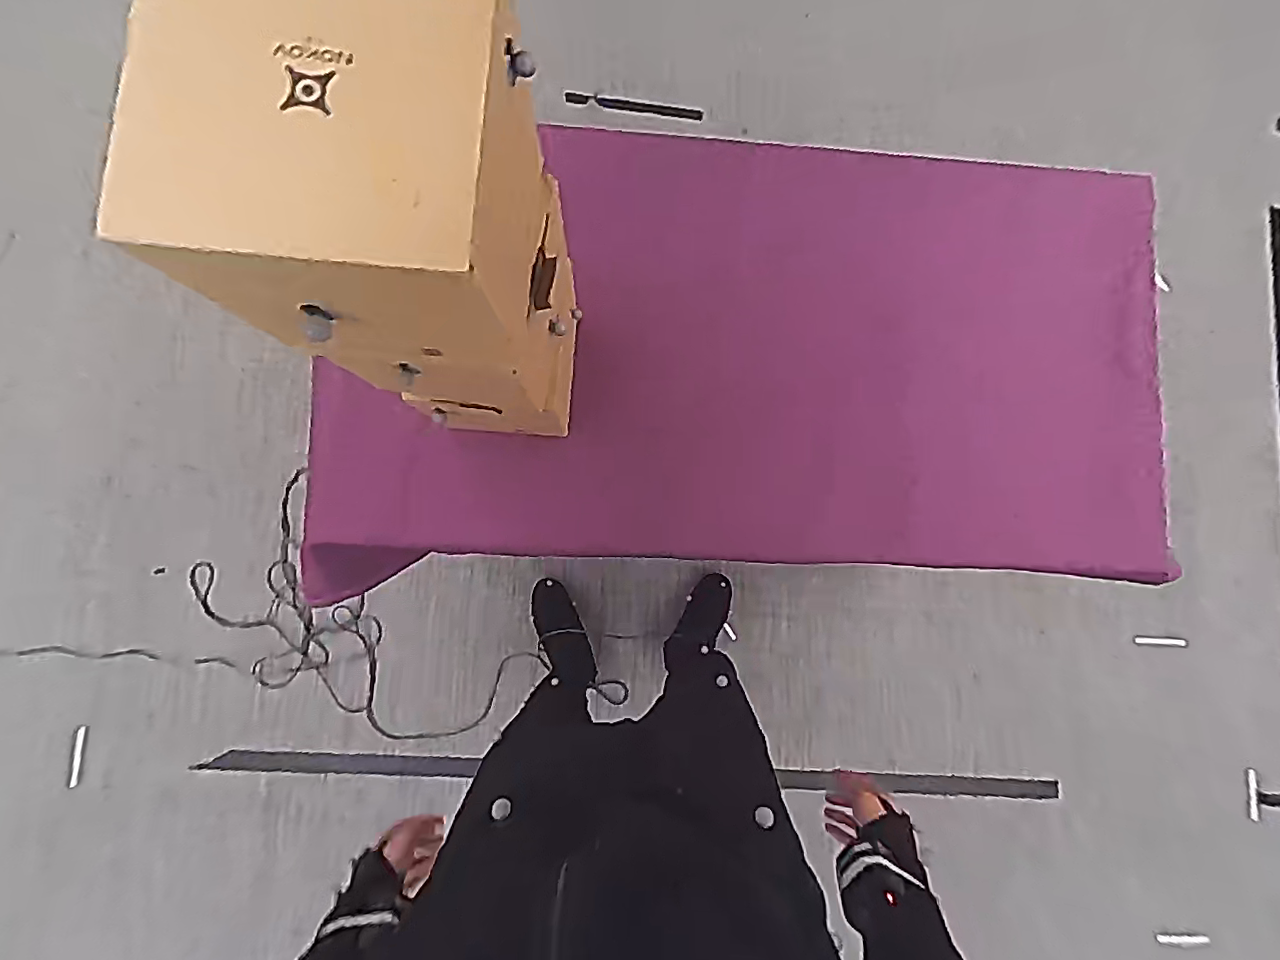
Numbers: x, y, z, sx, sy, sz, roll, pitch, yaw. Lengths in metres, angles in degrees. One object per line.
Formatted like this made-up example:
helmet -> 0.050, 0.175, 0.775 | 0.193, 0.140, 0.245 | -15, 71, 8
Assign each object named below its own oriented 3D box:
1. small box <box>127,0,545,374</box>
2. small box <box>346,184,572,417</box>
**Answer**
small box -> -0.155, -0.176, 0.342 | 0.168, 0.176, 0.179 | 4, 84, -4
small box -> -0.167, -0.165, 0.504 | 0.179, 0.176, 0.168 | 11, 84, -3
